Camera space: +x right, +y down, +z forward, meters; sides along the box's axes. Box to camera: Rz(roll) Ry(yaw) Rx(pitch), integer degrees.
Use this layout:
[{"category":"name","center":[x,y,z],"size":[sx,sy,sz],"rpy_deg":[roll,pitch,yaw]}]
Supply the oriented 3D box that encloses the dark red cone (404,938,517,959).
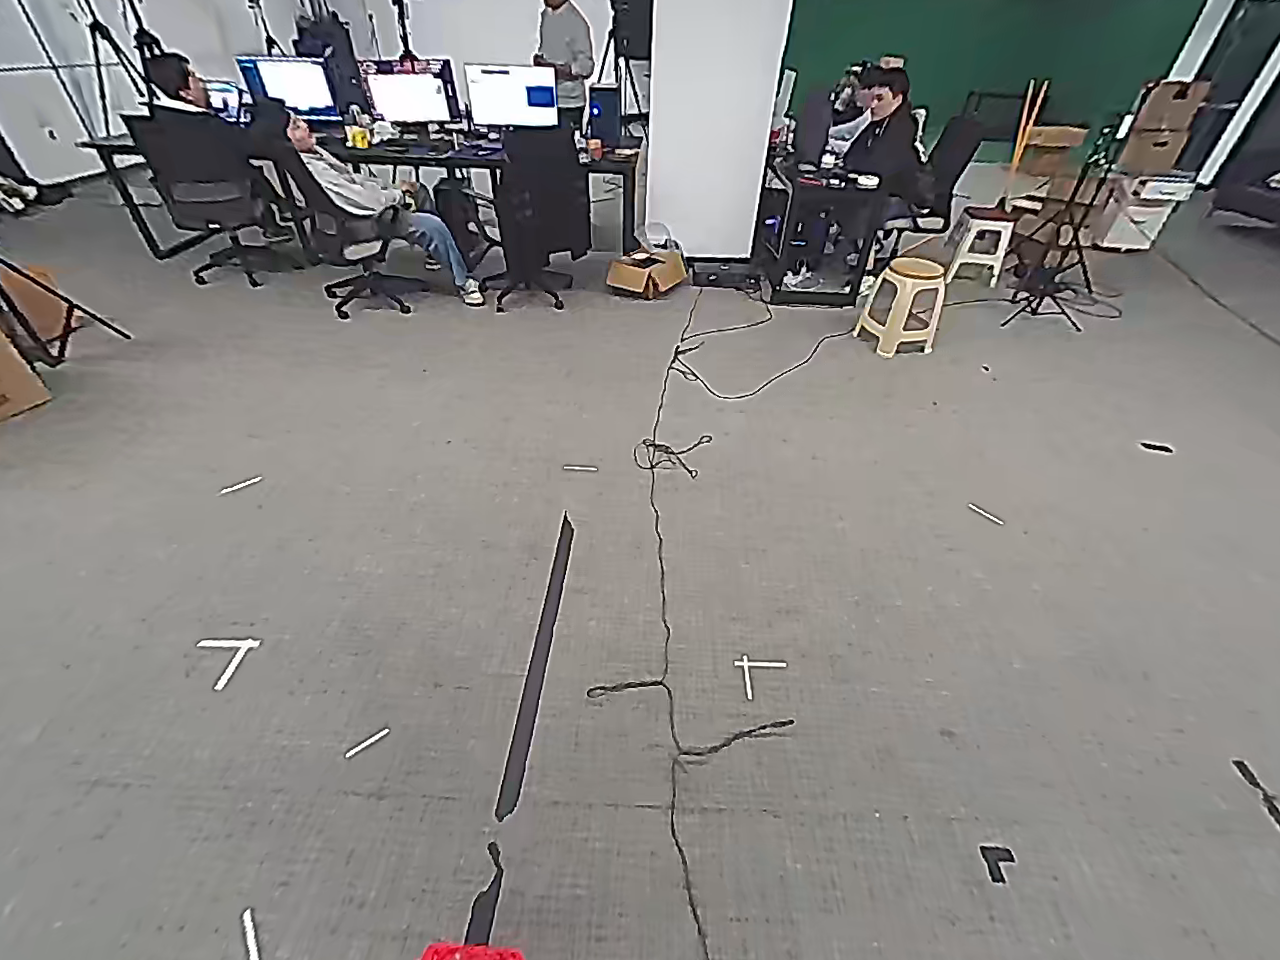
[{"category":"dark red cone","center":[-0.325,0.832,0.872],"size":[0.201,0.394,0.202],"rpy_deg":[4,39,0]}]
